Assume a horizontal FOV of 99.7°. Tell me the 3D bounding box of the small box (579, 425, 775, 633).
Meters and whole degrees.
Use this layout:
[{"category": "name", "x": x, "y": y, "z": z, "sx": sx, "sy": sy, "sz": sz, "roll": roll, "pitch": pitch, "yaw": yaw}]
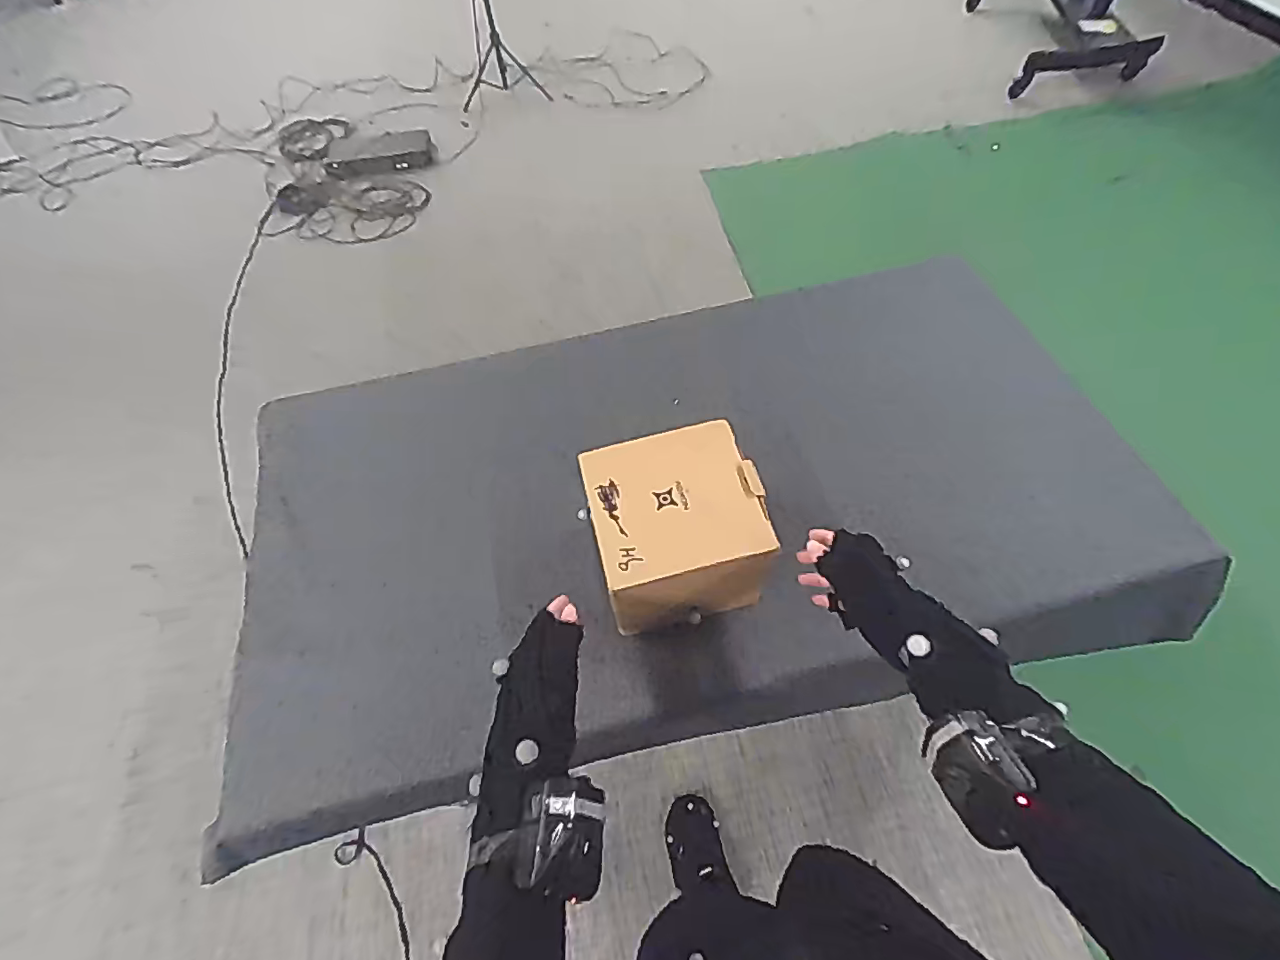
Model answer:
[{"category": "small box", "x": 0.036, "y": 0.063, "z": 0.634, "sx": 0.179, "sy": 0.176, "sz": 0.168, "roll": -13, "pitch": 59, "yaw": -4}]
